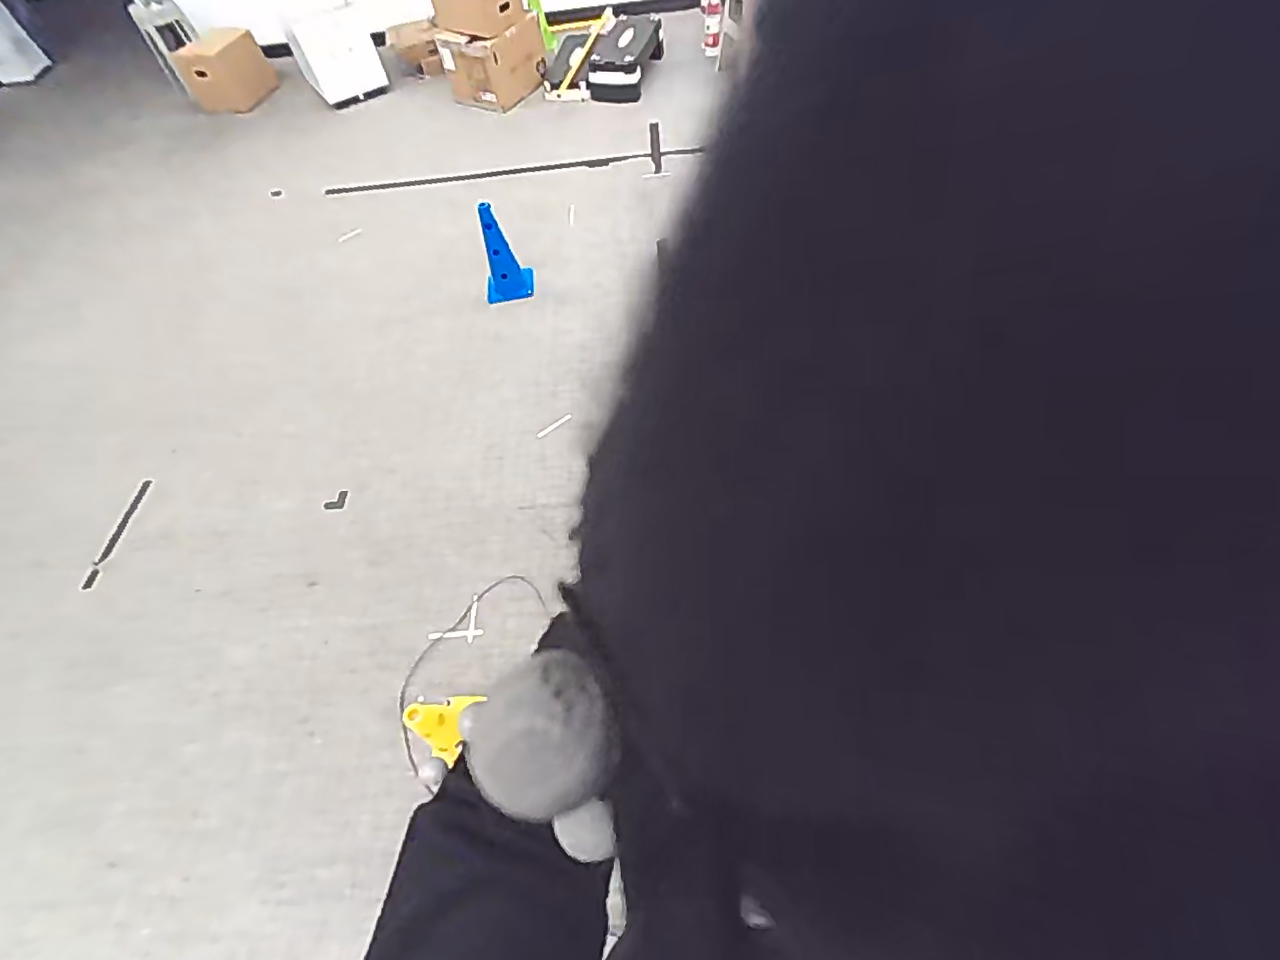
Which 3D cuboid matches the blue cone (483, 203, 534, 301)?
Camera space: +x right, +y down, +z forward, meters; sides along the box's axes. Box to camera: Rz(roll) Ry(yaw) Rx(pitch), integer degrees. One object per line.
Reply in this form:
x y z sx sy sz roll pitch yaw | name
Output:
-0.562 -0.922 2.168 0.192 0.380 0.193 -8 57 0 | blue cone
